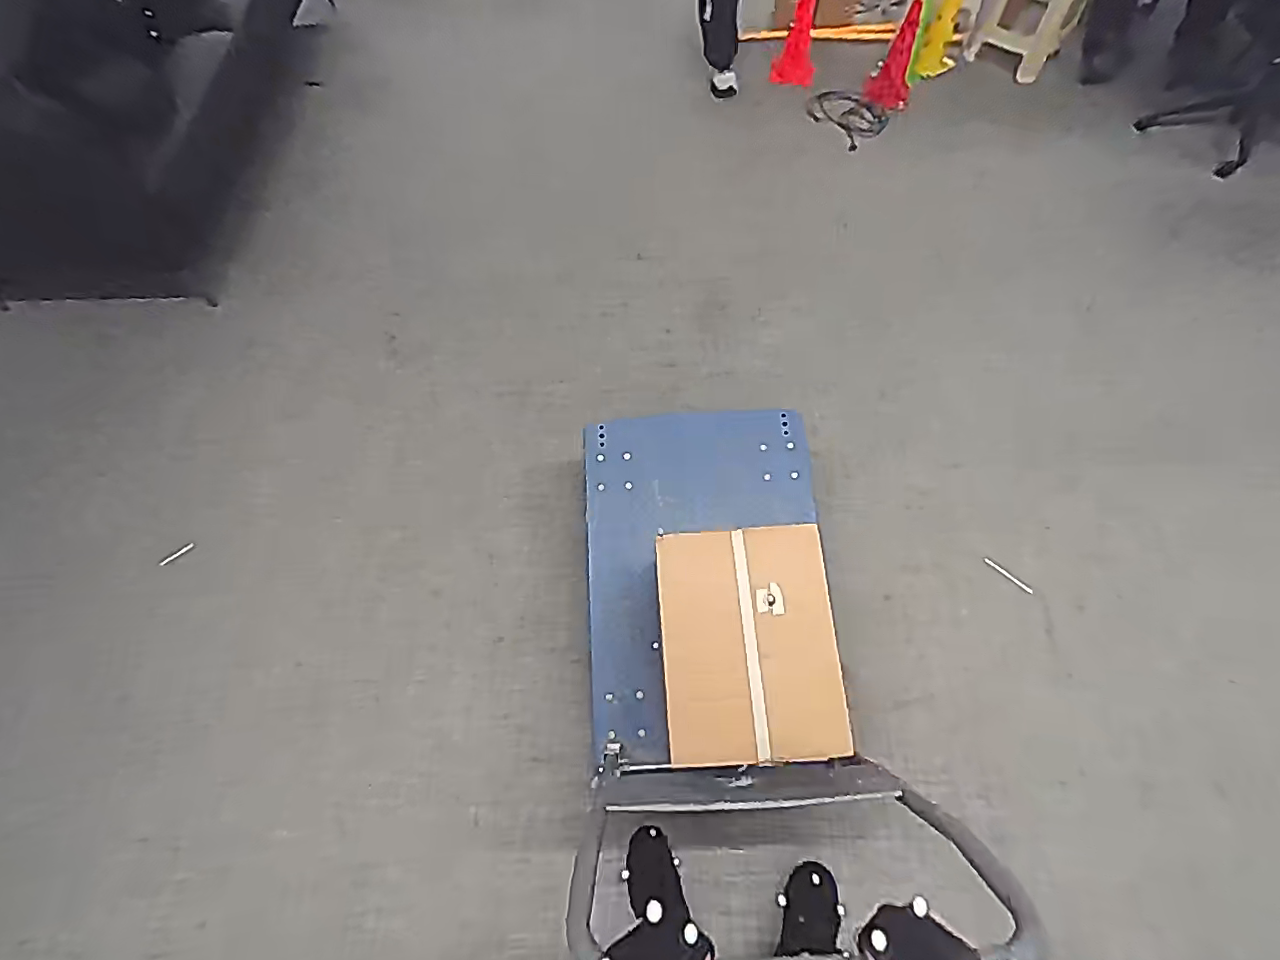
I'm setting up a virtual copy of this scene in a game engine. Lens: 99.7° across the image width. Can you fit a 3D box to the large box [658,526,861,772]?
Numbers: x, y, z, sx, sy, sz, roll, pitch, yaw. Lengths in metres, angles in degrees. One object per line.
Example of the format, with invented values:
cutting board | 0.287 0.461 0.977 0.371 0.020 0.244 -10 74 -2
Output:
large box | 0.208 0.334 1.102 0.320 0.320 0.408 -4 72 0
